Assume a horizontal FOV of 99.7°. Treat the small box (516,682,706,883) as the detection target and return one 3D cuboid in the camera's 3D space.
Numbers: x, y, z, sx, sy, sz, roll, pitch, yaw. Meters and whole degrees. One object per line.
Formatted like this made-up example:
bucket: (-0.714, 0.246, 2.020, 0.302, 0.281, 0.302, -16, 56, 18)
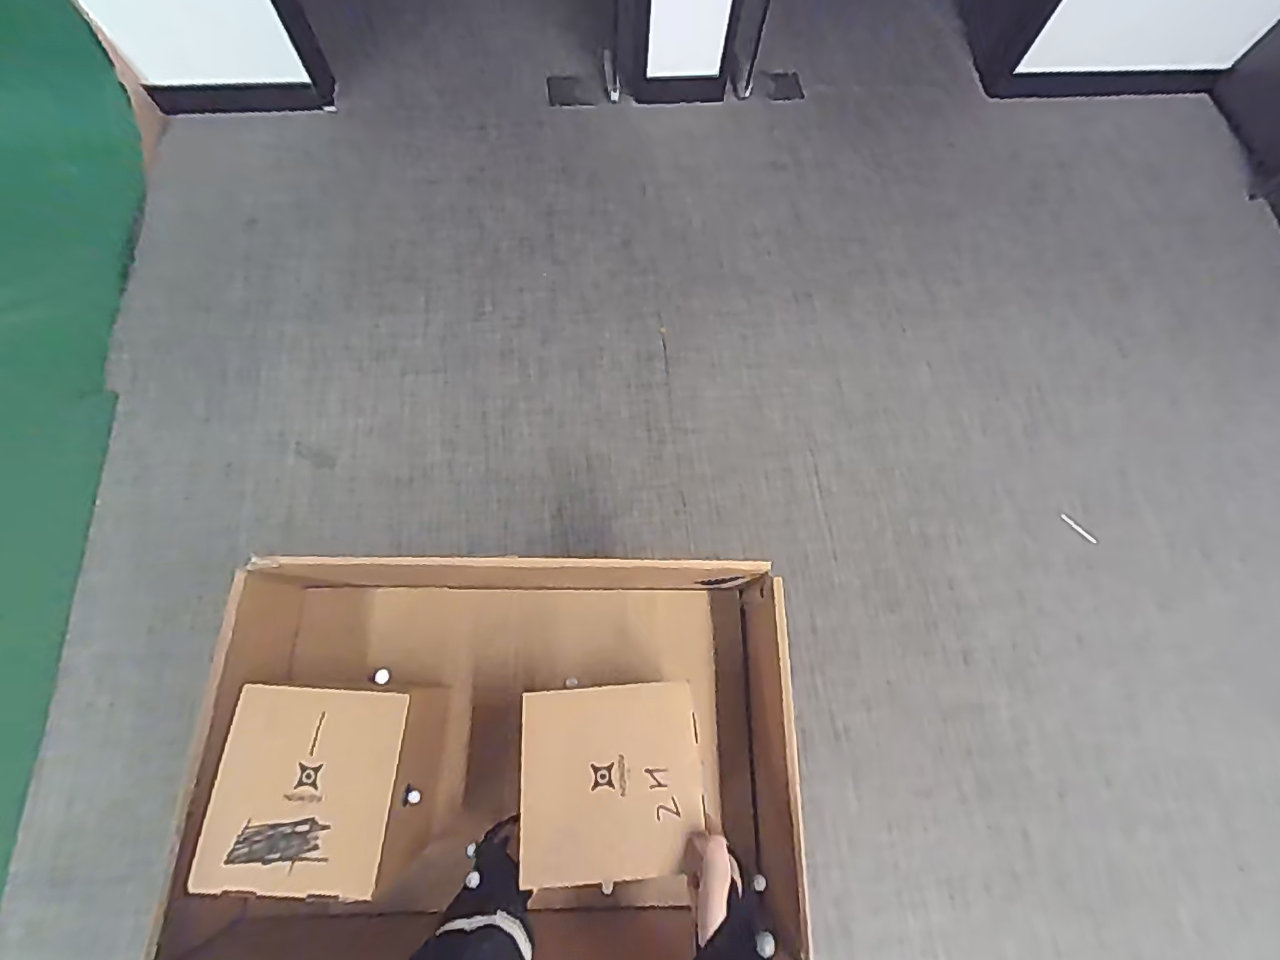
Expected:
small box: (-0.031, 0.320, 0.593, 0.179, 0.176, 0.168, -2, 65, -3)
